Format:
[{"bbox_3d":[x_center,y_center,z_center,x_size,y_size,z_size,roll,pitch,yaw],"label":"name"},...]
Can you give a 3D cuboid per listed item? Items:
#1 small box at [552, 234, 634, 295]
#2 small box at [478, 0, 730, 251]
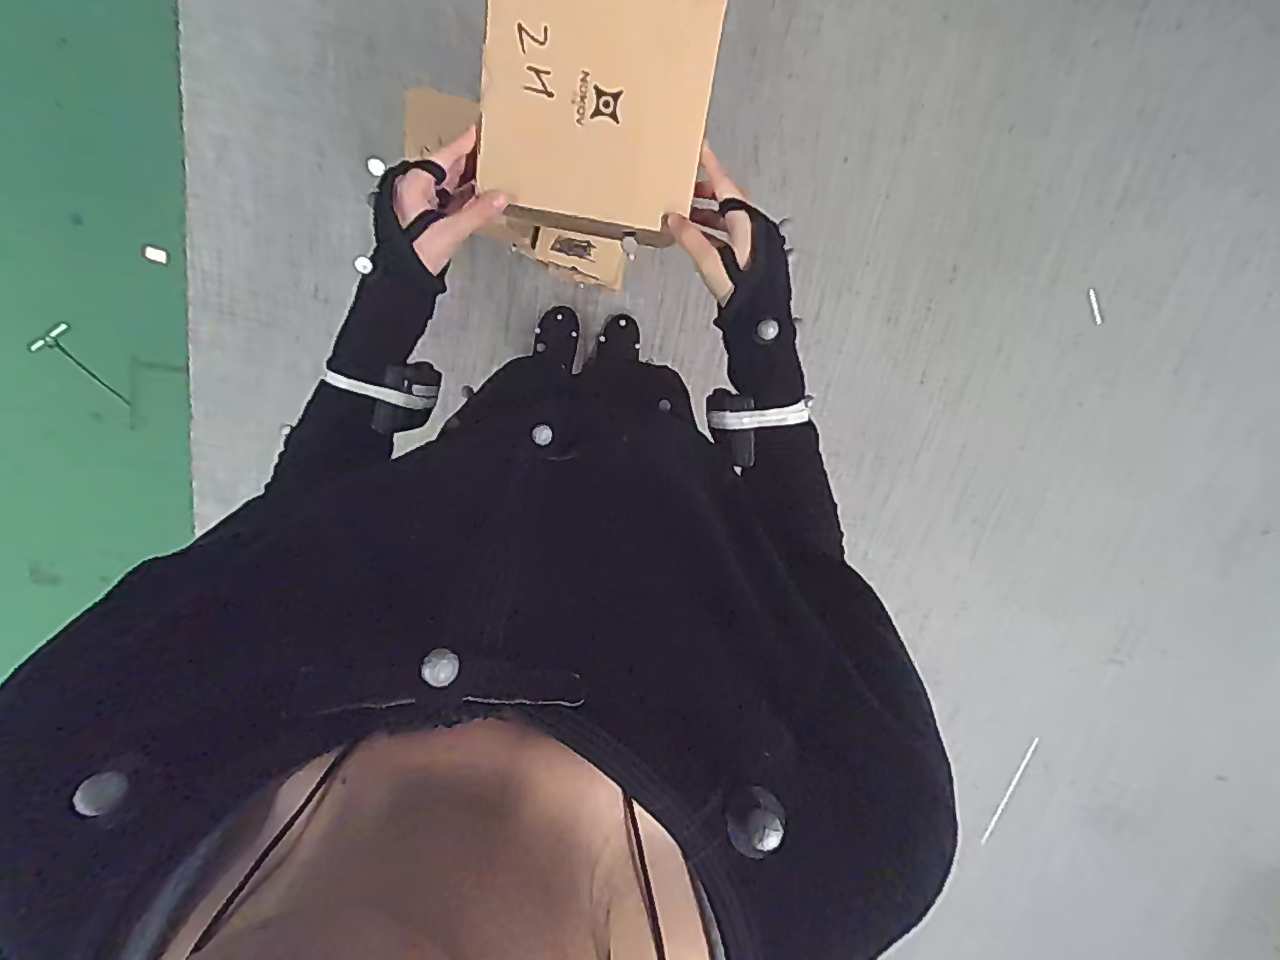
[{"bbox_3d":[-0.102,-0.545,1.276,0.168,0.176,0.179,12,108,-4],"label":"small box"},{"bbox_3d":[-0.034,-0.311,0.491,0.179,0.176,0.168,8,109,-5],"label":"small box"}]
